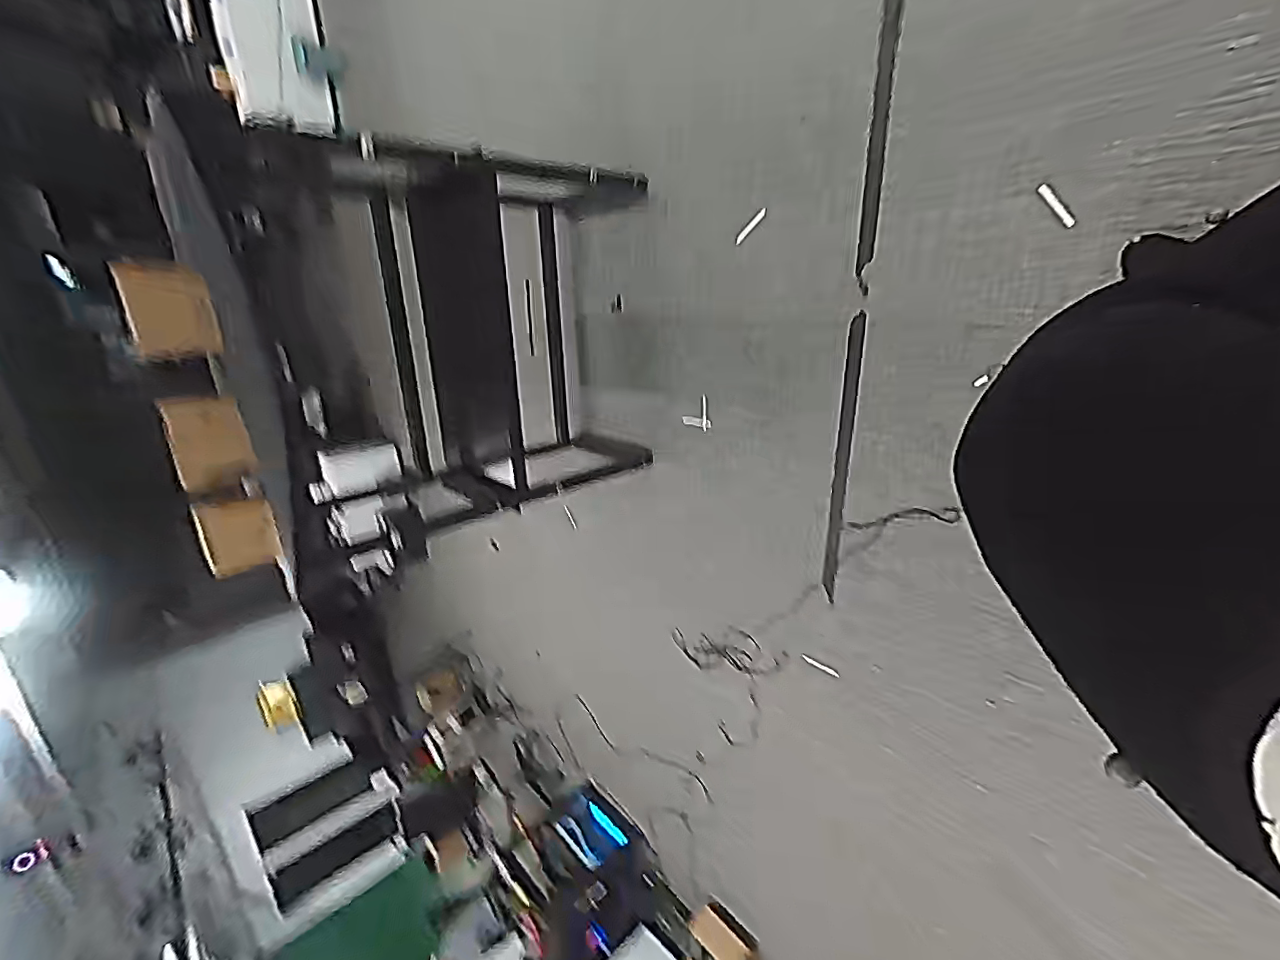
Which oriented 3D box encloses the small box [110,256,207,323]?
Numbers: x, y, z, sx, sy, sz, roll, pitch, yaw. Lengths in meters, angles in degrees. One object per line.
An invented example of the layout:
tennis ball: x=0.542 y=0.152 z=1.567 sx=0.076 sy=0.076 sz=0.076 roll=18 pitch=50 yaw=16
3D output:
small box: x=-1.332 y=-0.529 z=1.502 sx=0.179 sy=0.176 sz=0.168 roll=19 pitch=119 yaw=44

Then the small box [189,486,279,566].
small box: x=-1.152 y=0.122 z=1.539 sx=0.179 sy=0.176 sz=0.168 roll=14 pitch=114 yaw=45

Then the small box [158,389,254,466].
small box: x=-1.168 y=-0.149 z=1.458 sx=0.168 sy=0.176 sz=0.179 roll=16 pitch=114 yaw=47

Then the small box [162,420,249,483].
small box: x=-1.319 y=-0.105 z=1.648 sx=0.179 sy=0.176 sz=0.168 roll=19 pitch=118 yaw=45
